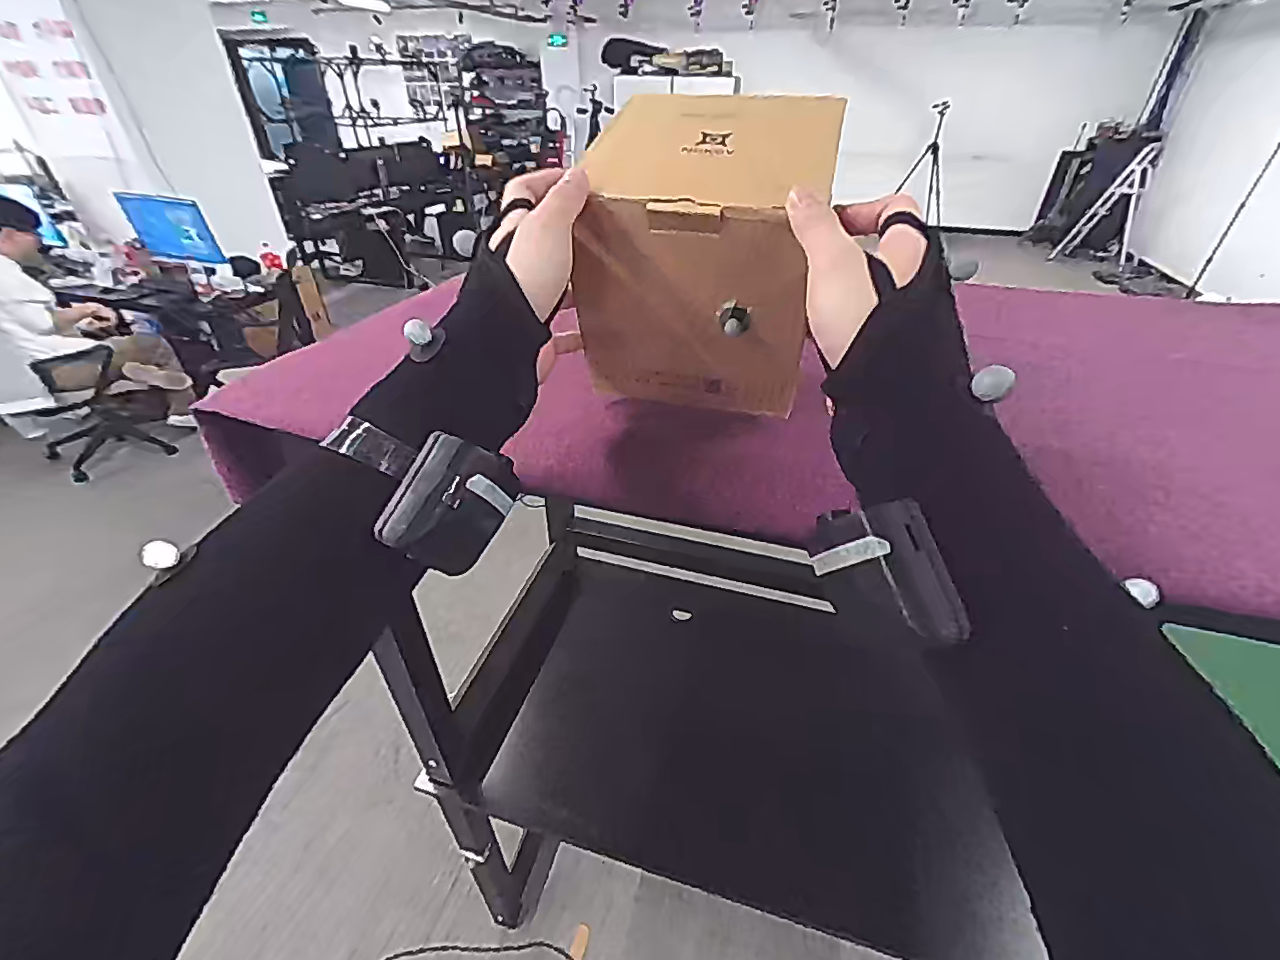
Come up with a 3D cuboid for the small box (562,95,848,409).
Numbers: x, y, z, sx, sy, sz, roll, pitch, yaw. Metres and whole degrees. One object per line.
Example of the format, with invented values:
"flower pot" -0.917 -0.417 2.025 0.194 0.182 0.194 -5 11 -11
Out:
"small box" 0.057 -0.179 0.430 0.168 0.176 0.179 11 53 13
